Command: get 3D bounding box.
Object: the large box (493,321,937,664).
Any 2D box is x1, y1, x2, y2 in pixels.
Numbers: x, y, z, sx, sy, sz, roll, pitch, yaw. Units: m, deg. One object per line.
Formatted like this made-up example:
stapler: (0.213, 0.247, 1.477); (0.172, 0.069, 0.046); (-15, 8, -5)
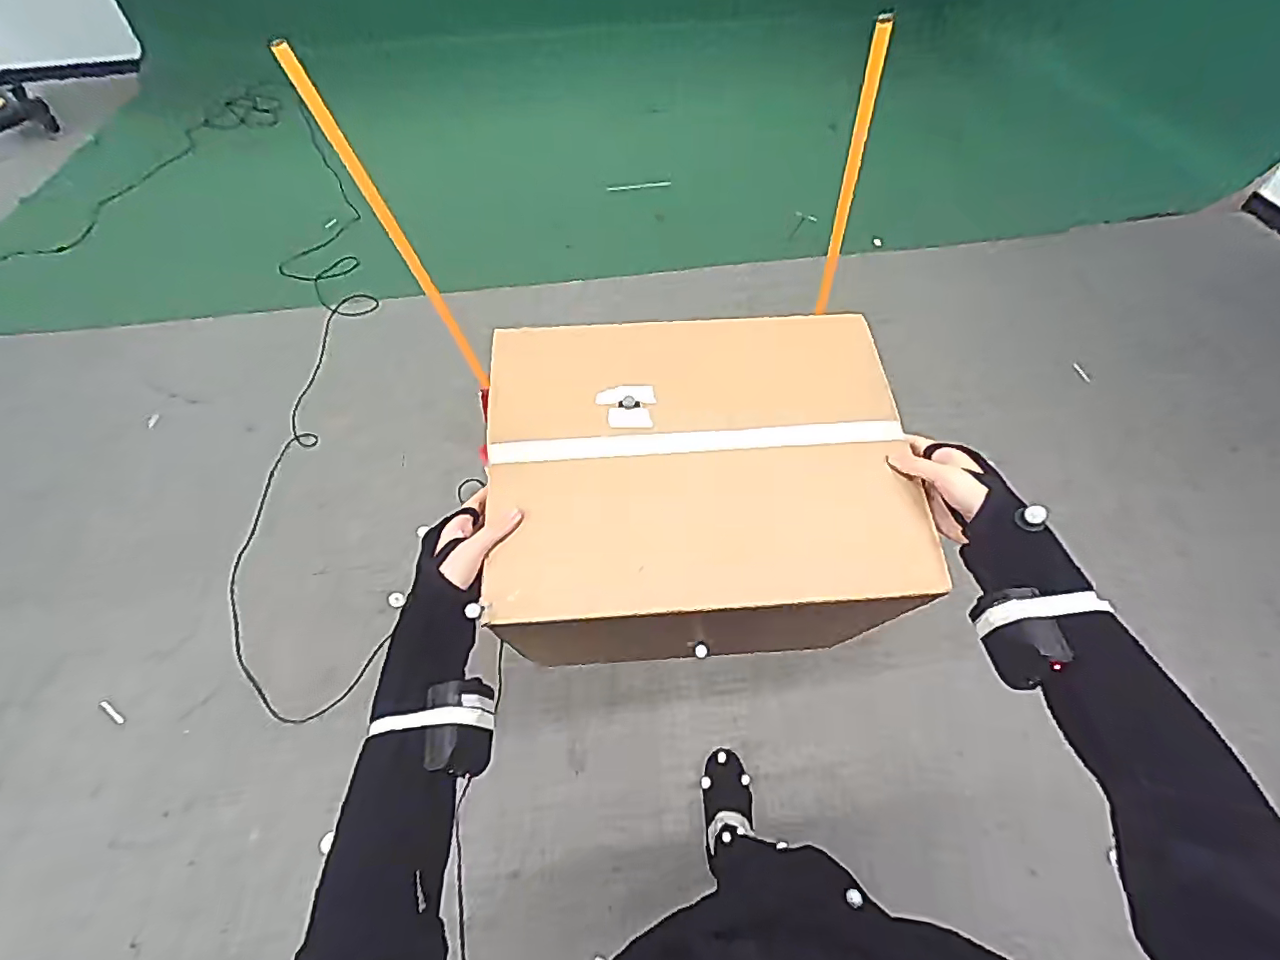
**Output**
large box: (0.059, 0.038, 0.671); (0.408, 0.320, 0.320); (-4, 64, -2)
